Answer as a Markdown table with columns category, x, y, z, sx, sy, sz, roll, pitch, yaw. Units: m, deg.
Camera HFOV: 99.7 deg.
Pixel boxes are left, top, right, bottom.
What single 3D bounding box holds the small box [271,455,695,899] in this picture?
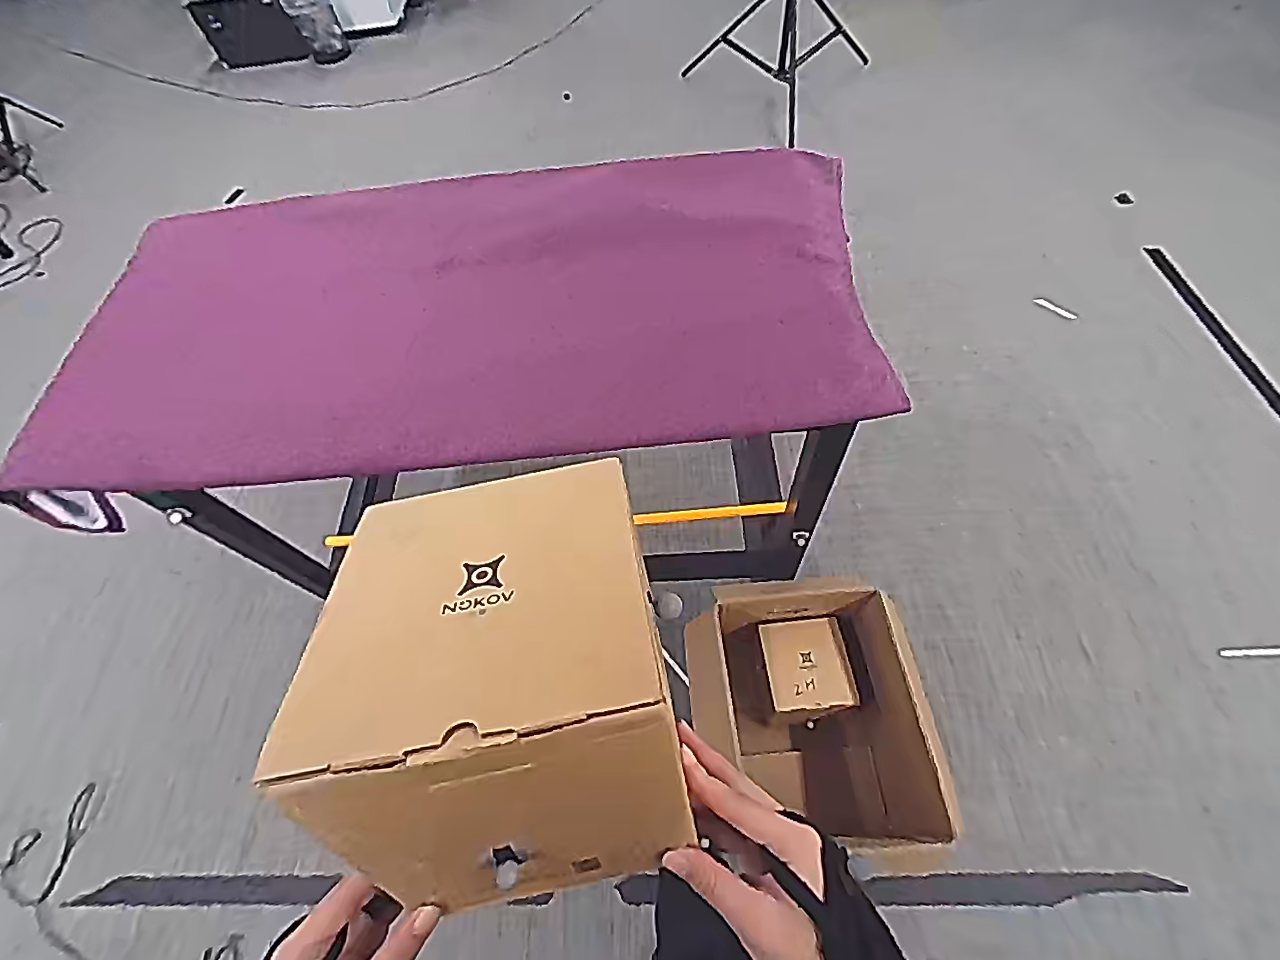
| category | x | y | z | sx | sy | sz | roll | pitch | yaw |
| --- | --- | --- | --- | --- | --- | --- | --- | --- | --- |
| small box | -0.068 | 0.112 | 0.330 | 0.168 | 0.176 | 0.179 | -12 | 38 | -1 |
